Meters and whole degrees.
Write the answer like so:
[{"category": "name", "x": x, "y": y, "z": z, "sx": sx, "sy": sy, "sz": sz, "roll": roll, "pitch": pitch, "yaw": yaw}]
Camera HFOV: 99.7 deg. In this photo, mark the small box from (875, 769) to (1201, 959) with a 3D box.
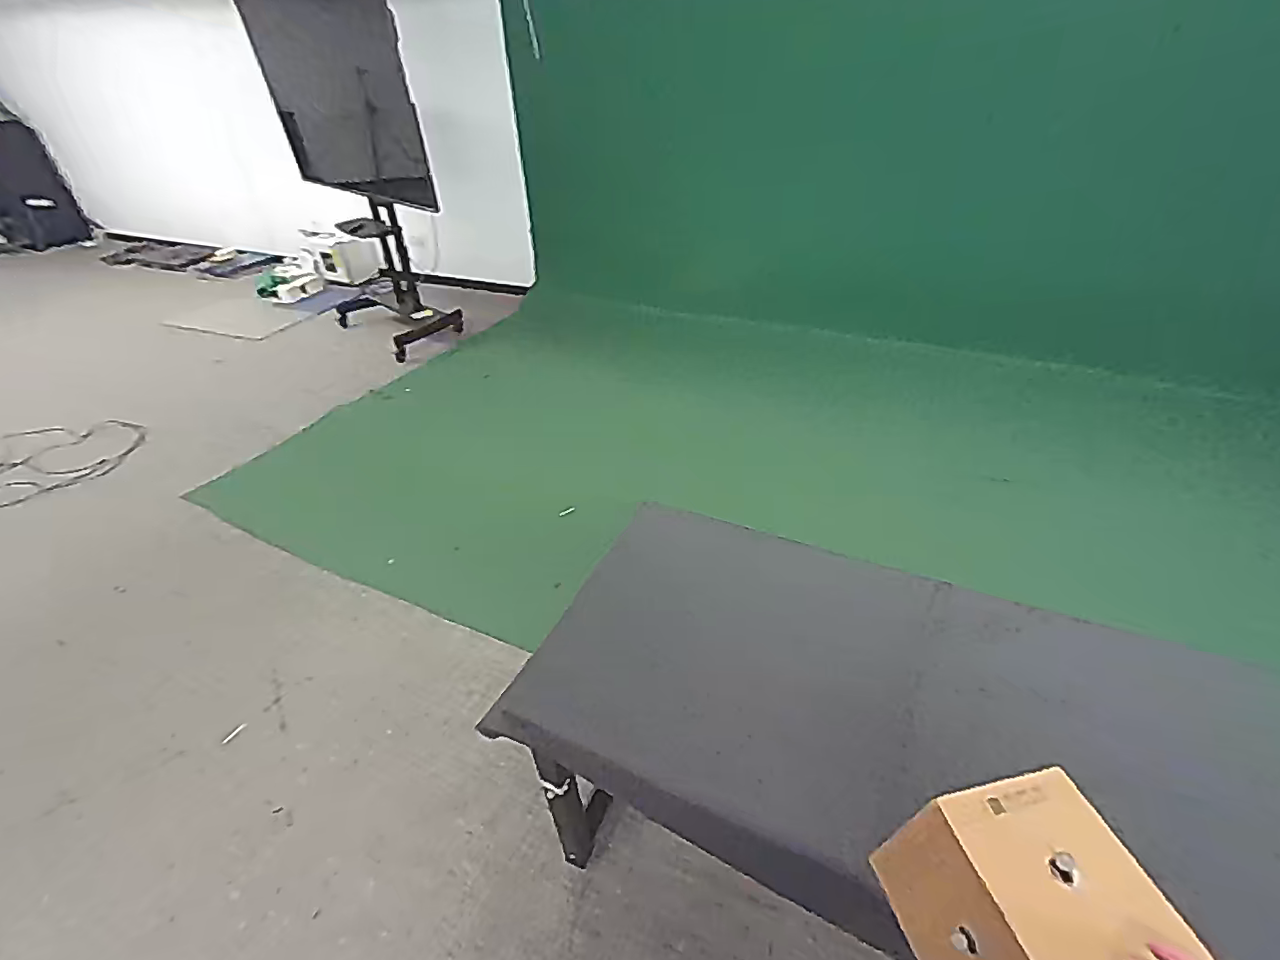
[{"category": "small box", "x": 0.376, "y": 0.421, "z": 0.553, "sx": 0.168, "sy": 0.179, "sz": 0.176, "roll": -7, "pitch": 41, "yaw": -15}]
